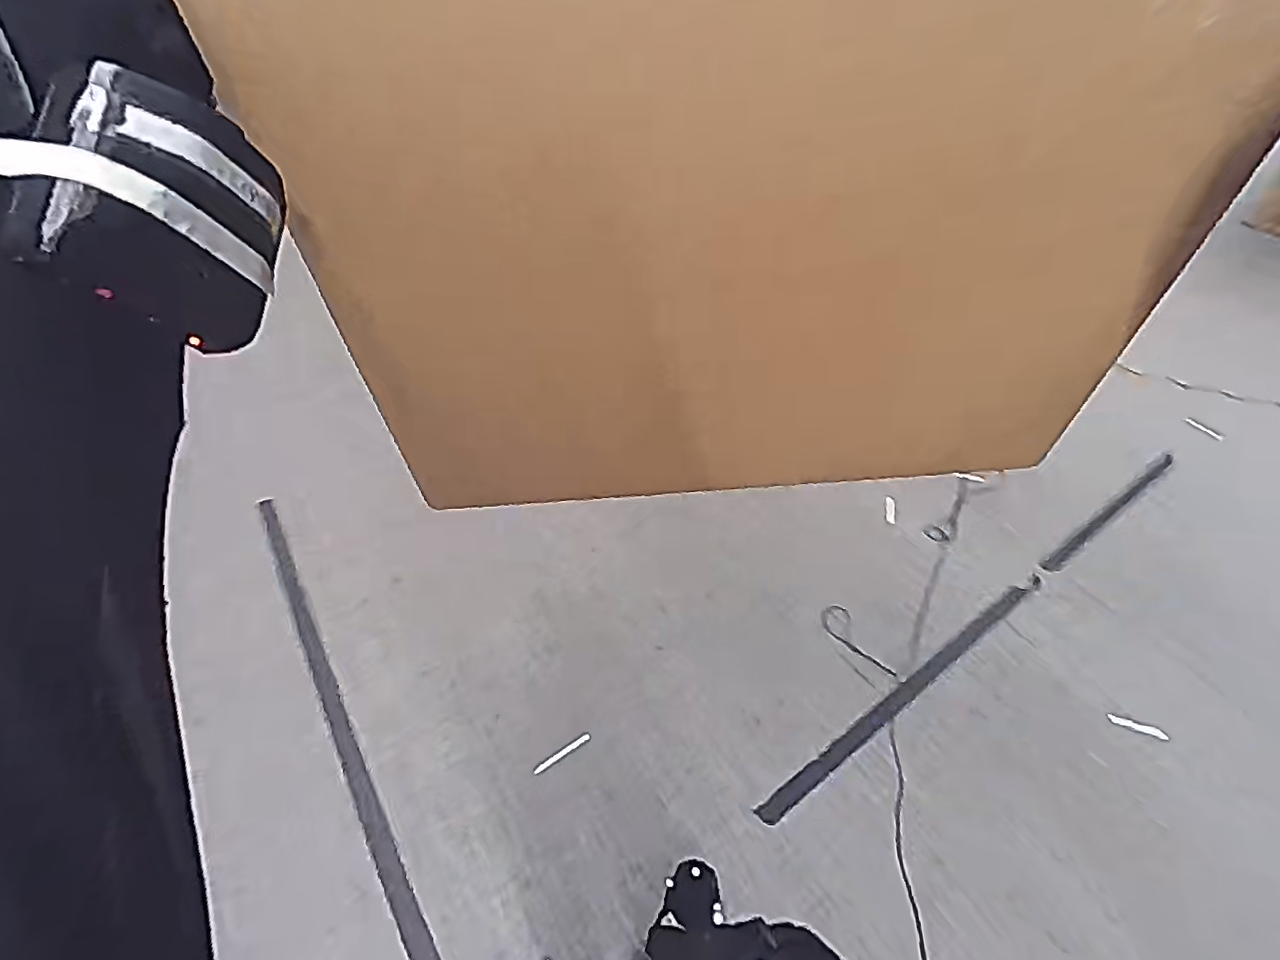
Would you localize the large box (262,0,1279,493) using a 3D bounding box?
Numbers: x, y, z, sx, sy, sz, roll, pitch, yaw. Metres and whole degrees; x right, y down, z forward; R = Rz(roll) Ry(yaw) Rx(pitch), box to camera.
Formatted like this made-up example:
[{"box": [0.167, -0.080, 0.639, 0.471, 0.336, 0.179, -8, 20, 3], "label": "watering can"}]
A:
[{"box": [0.058, -0.213, 0.358, 0.408, 0.320, 0.320, -3, 47, -2], "label": "large box"}]
